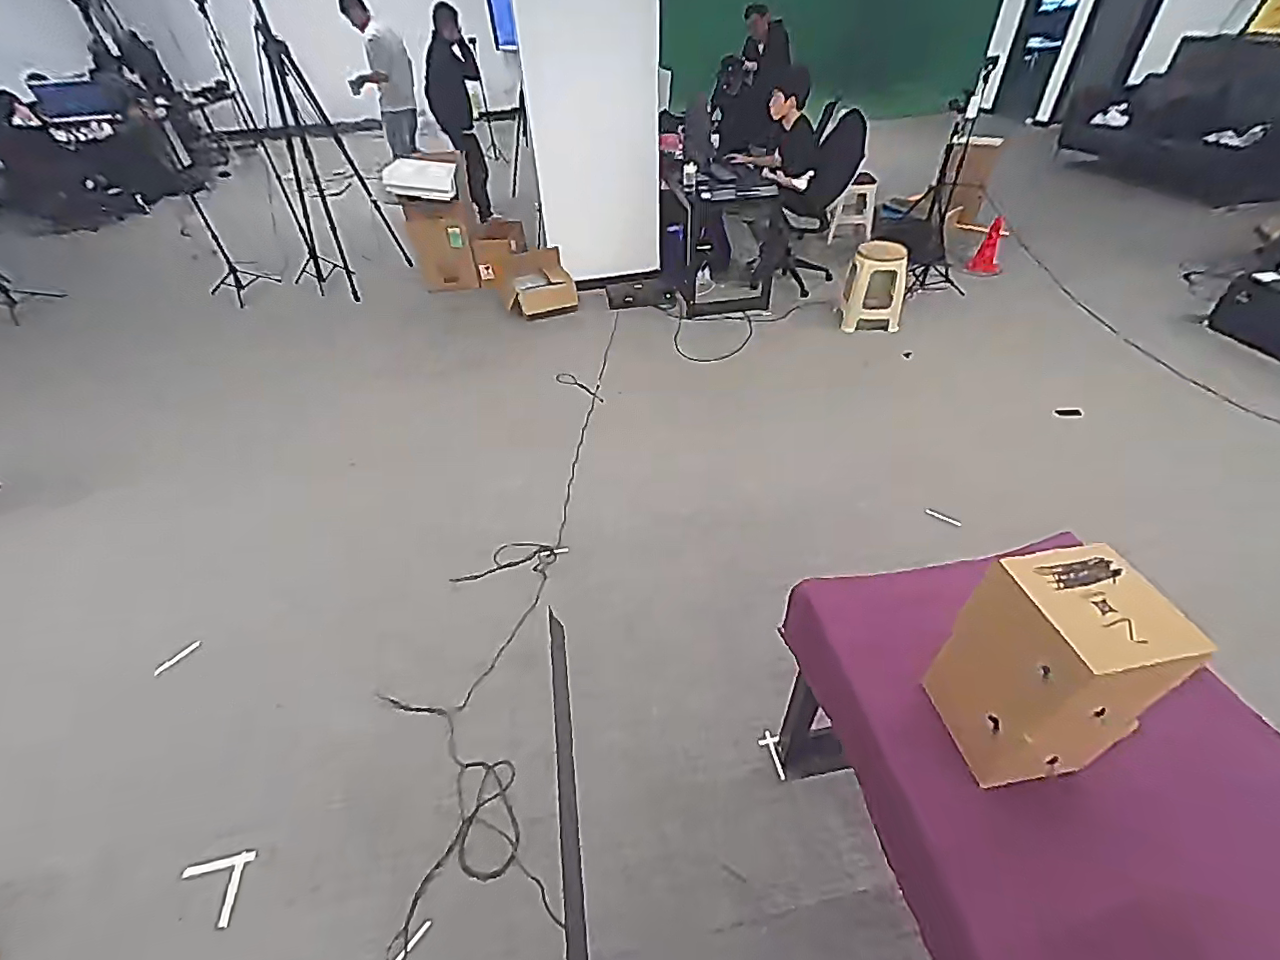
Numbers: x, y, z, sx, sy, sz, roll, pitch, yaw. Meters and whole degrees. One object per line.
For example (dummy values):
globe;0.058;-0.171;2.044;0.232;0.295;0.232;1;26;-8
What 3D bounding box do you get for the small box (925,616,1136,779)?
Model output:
small box;0.582;0.341;0.837;0.168;0.176;0.179;-7;42;-5
